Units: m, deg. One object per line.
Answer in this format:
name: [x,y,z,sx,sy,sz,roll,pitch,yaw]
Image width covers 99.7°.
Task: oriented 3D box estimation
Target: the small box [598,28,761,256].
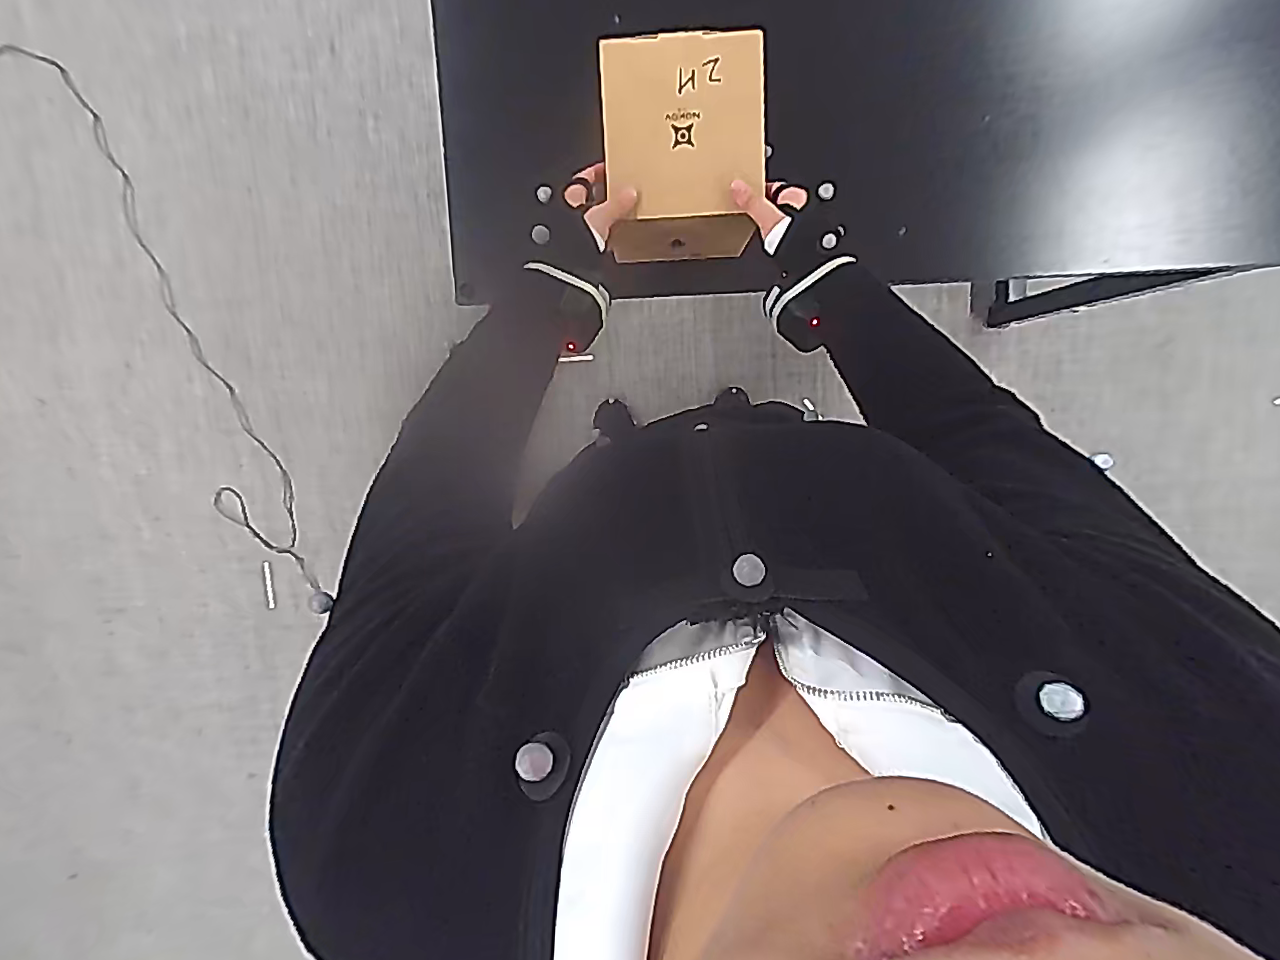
small box: [0.044,-0.371,0.630,0.168,0.176,0.179,-3,97,2]
